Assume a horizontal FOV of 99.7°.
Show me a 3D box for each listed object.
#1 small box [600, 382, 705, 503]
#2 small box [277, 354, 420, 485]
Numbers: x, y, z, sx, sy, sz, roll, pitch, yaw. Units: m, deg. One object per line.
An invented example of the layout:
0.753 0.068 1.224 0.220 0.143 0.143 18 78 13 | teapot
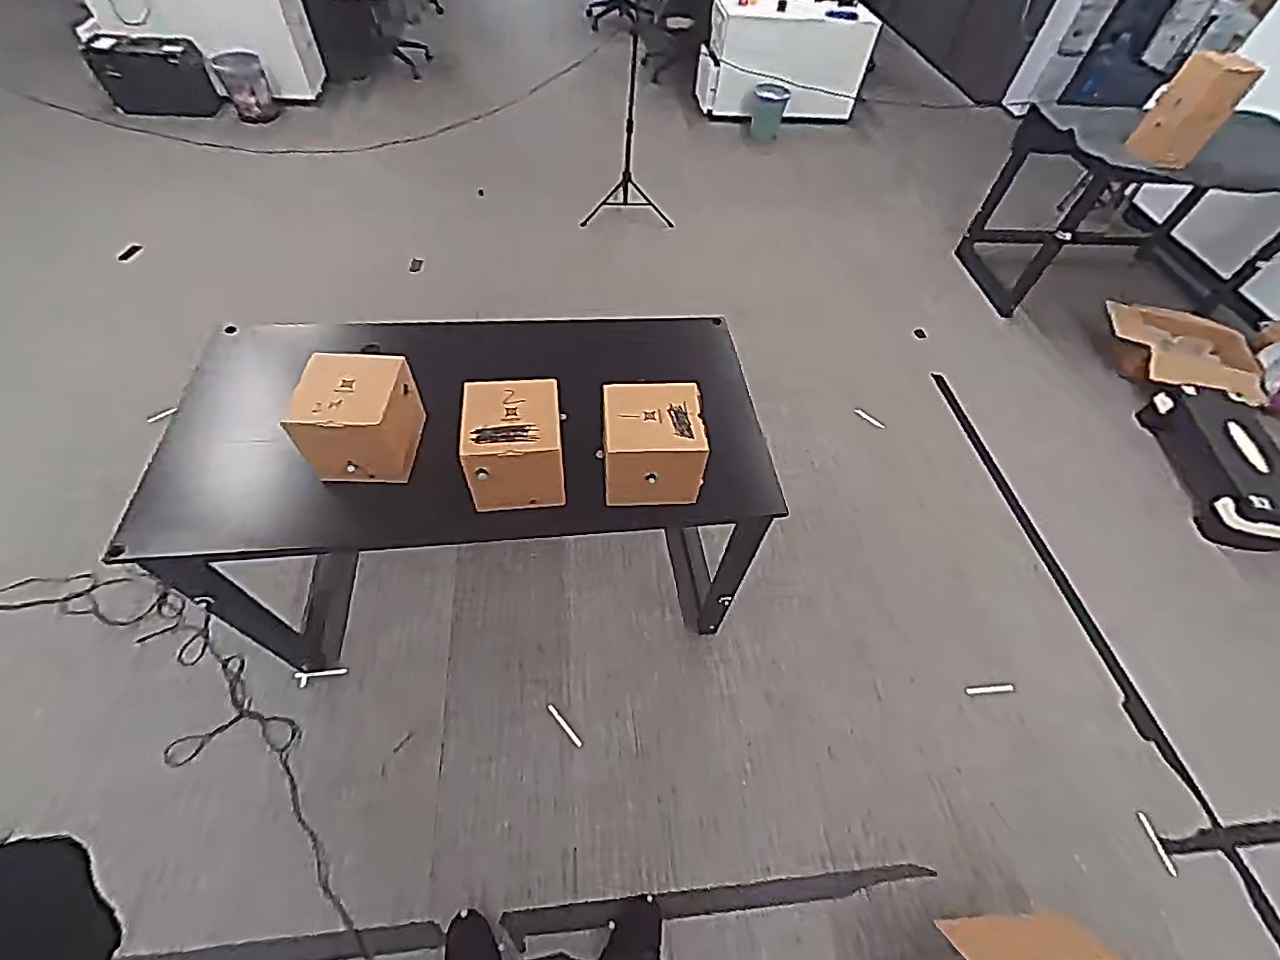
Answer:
0.014 -0.068 1.024 0.179 0.176 0.168 -2 54 -5 | small box
-0.527 -0.111 1.011 0.168 0.176 0.179 1 55 -4 | small box
